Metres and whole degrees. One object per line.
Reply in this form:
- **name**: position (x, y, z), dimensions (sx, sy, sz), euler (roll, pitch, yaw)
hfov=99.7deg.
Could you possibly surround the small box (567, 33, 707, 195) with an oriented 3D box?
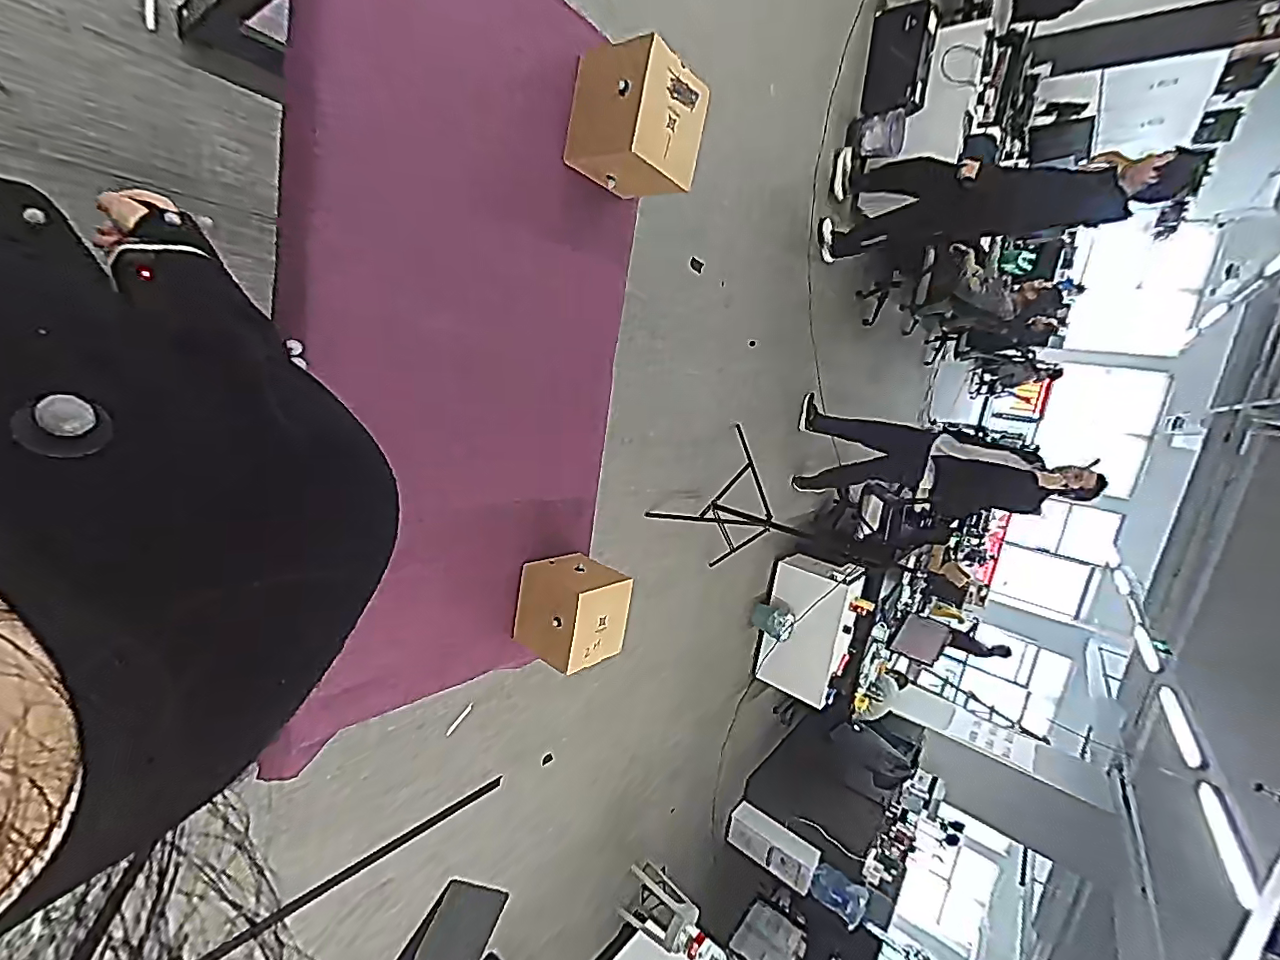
- **small box**: position (-0.009, -0.628, 0.956), dimensions (0.168, 0.176, 0.179), euler (0, 105, -51)

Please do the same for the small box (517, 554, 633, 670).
- **small box**: position (-0.142, 0.265, 1.145), dimensions (0.168, 0.176, 0.179), euler (-3, 107, -52)
